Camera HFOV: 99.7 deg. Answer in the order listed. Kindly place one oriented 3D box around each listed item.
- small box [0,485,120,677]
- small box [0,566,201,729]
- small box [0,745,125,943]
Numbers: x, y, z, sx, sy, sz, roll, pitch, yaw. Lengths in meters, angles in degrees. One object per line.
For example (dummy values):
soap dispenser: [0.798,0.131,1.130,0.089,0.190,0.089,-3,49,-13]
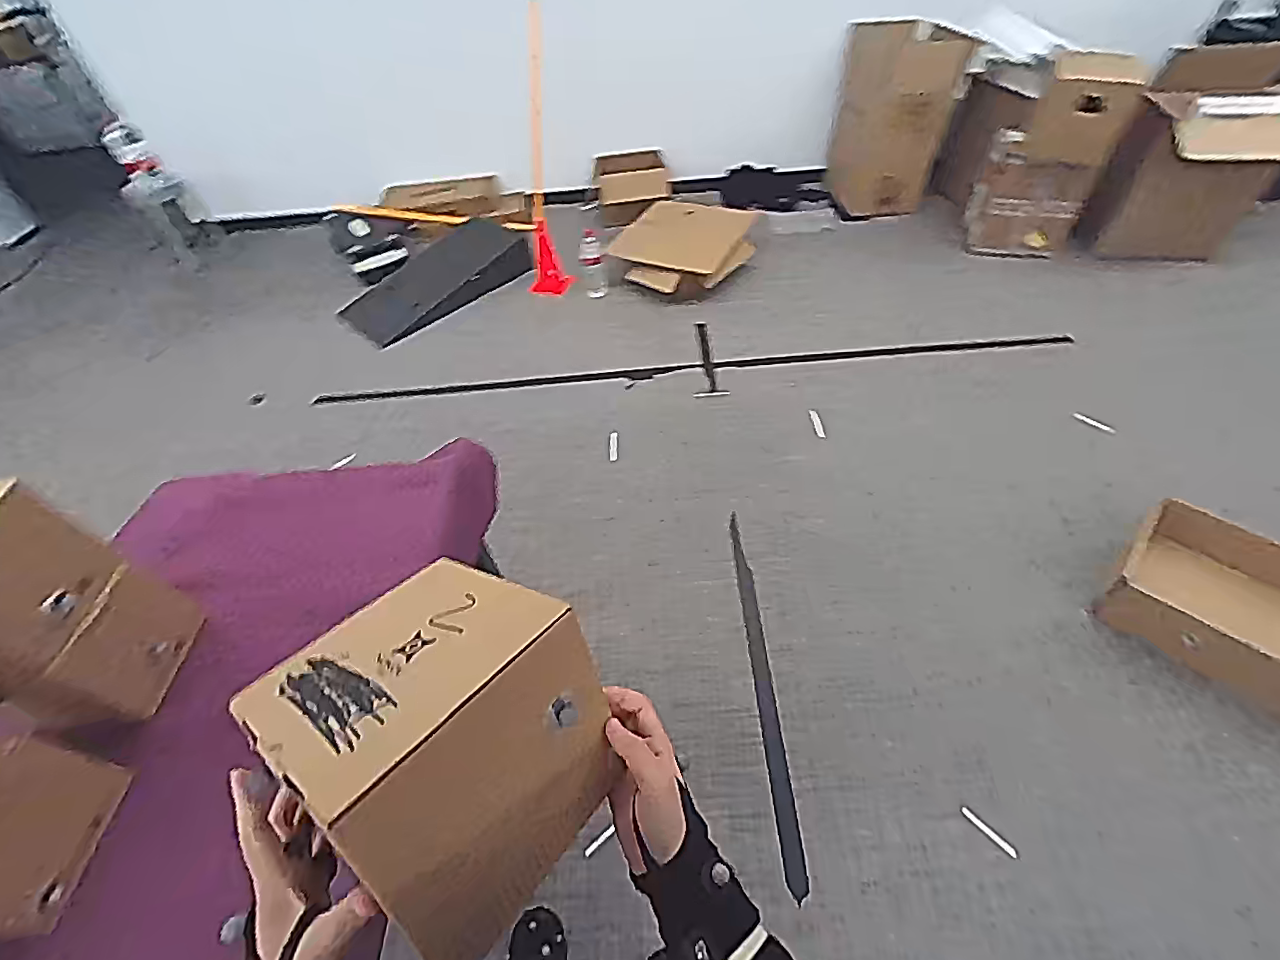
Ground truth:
small box: [-0.801,0.127,0.639,0.179,0.176,0.168,-5,49,-2]
small box: [-0.787,0.238,0.757,0.179,0.176,0.168,-3,49,0]
small box: [-0.756,0.409,0.604,0.179,0.176,0.168,-4,48,1]
